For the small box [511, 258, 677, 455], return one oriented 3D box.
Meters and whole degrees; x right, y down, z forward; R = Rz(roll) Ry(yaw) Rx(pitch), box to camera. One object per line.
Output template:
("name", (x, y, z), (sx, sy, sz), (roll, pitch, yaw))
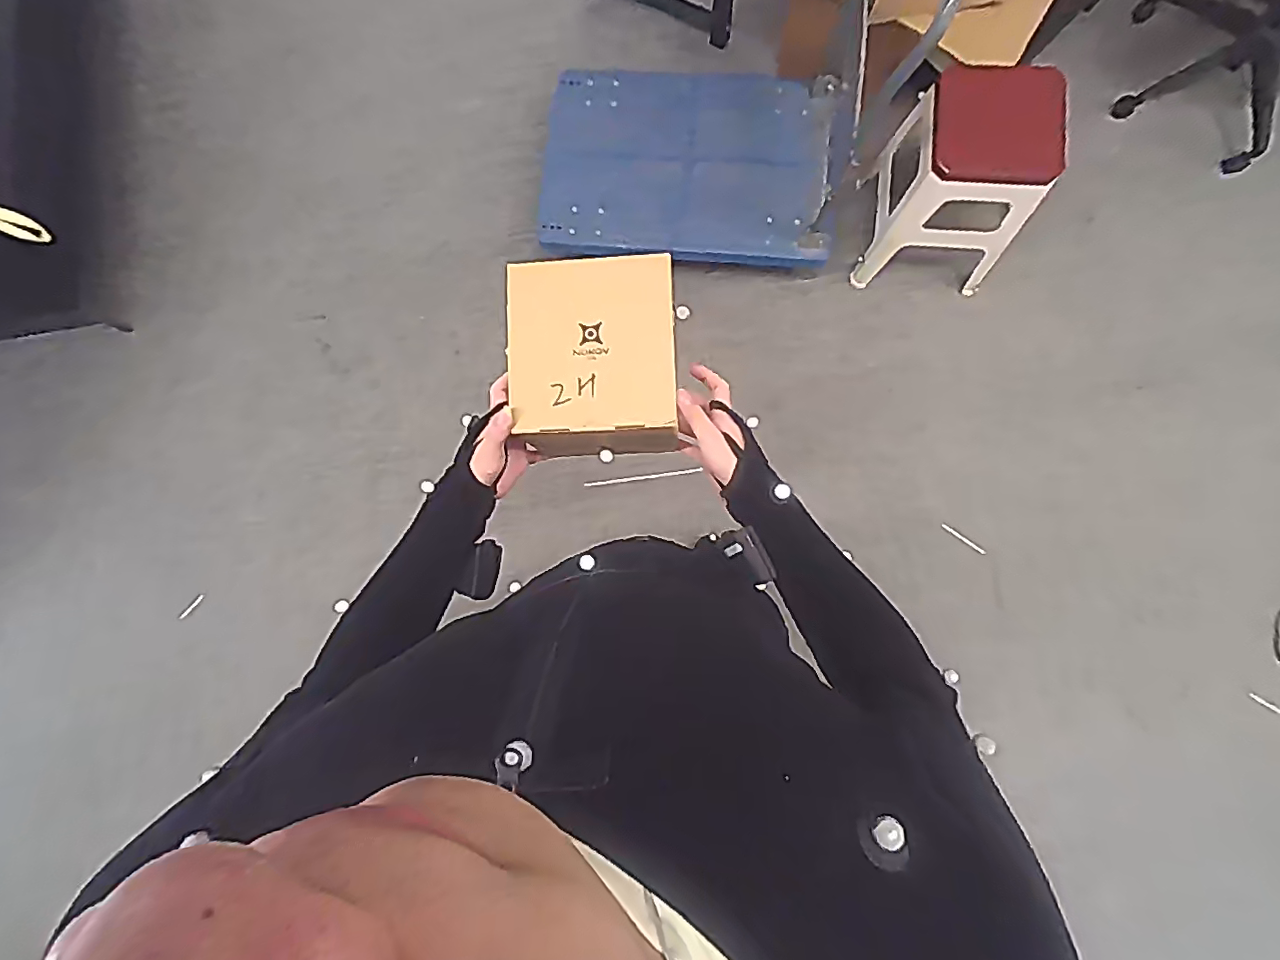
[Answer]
("small box", (-0.043, -0.128, 0.619), (0.168, 0.176, 0.179), (-2, 85, 4))
